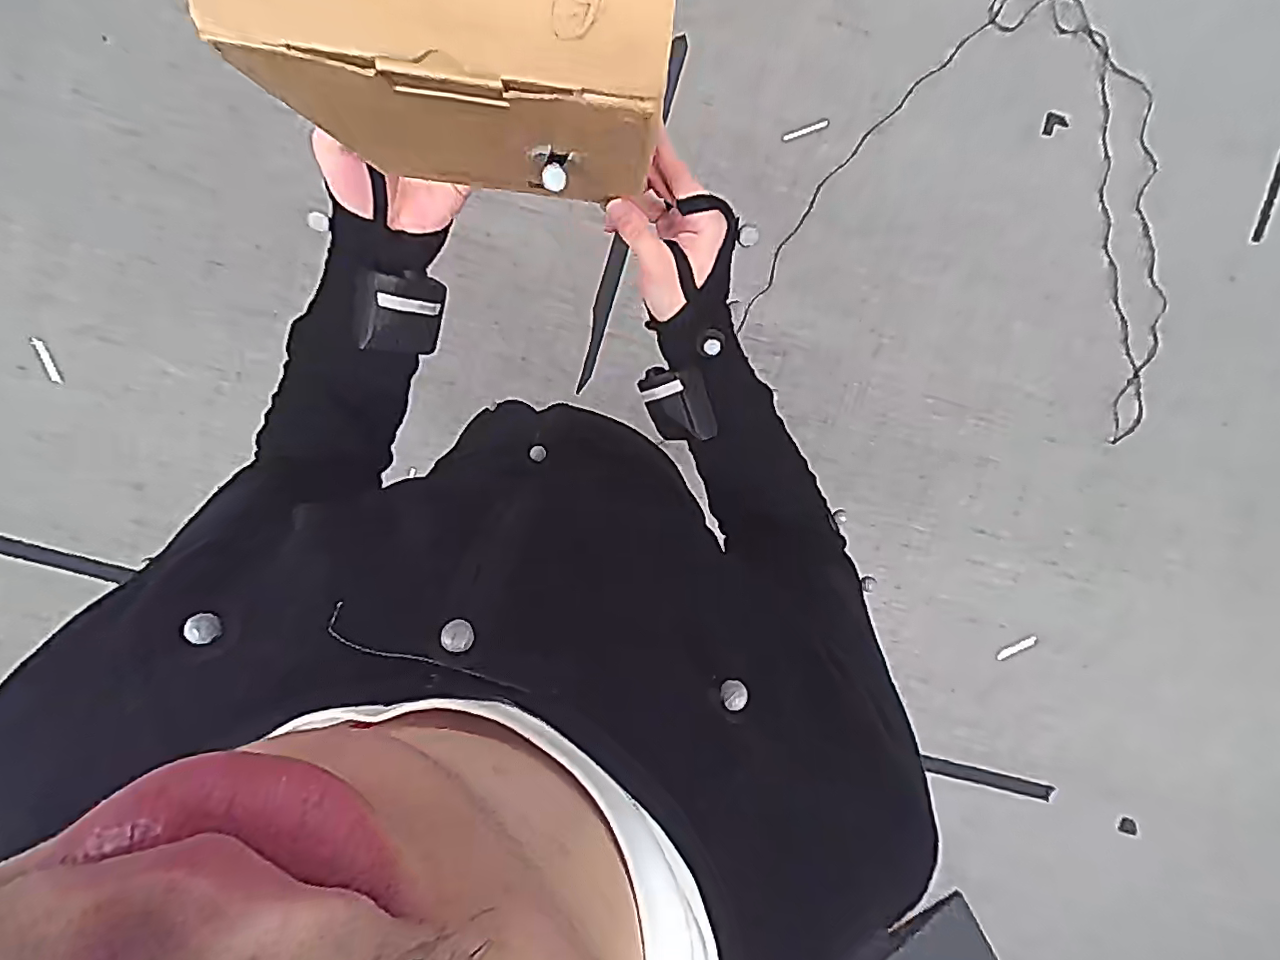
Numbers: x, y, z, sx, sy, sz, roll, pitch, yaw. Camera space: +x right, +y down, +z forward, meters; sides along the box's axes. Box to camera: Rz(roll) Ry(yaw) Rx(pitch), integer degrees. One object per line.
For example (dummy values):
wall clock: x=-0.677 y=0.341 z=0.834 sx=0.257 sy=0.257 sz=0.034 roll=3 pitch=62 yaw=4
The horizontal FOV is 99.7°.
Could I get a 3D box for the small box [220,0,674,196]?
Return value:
small box: x=-0.067 y=-0.254 z=0.259 sx=0.168 sy=0.176 sz=0.179 roll=4 pitch=104 yaw=-6
